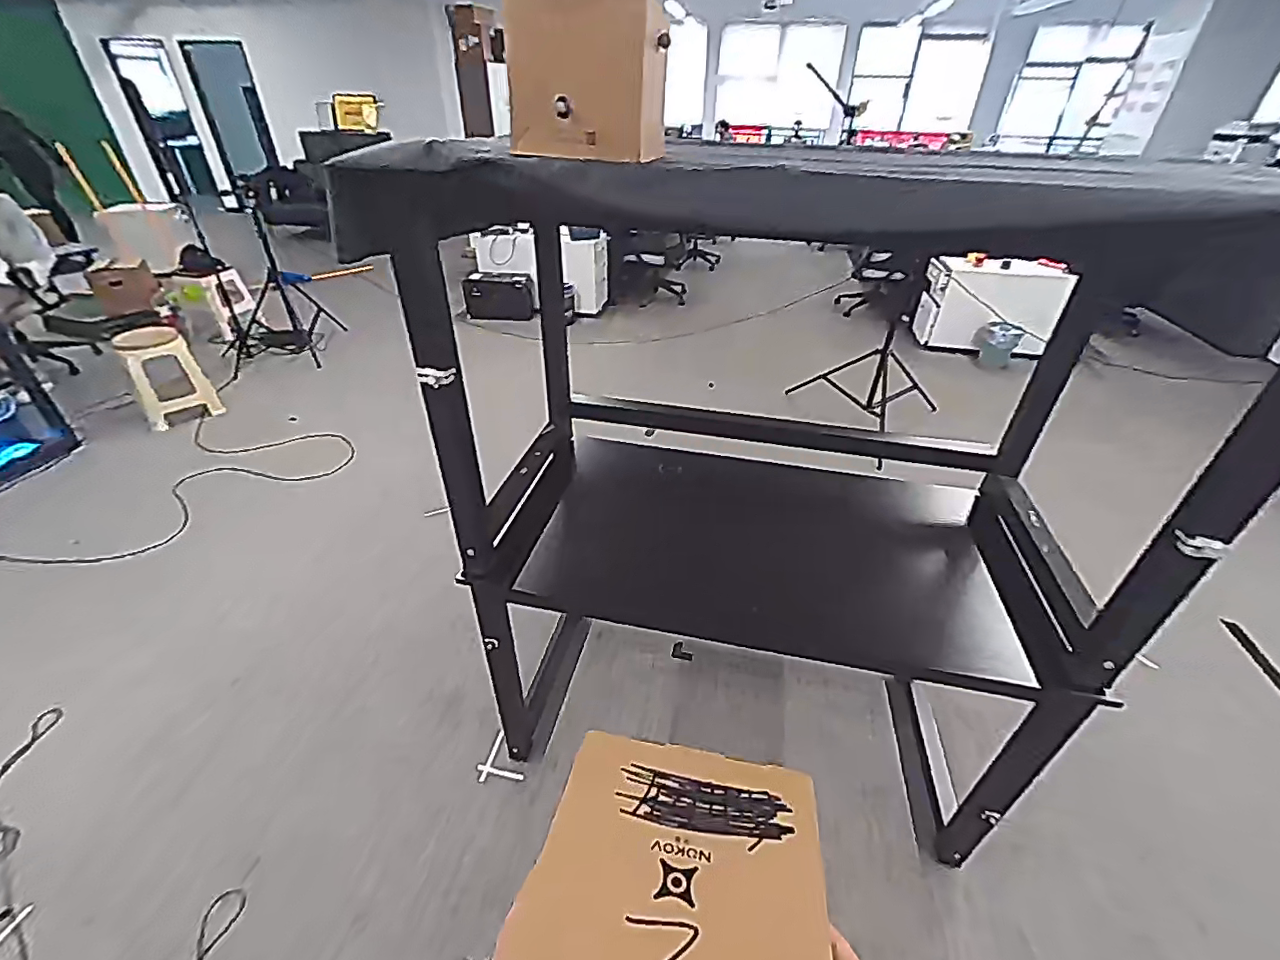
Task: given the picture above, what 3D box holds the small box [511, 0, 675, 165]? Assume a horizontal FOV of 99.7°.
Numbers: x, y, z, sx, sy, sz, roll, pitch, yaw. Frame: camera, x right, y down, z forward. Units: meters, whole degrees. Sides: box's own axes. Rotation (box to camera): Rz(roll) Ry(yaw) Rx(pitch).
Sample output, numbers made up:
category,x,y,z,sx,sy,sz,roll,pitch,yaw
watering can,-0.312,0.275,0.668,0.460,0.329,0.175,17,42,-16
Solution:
category,x,y,z,sx,sy,sz,roll,pitch,yaw
small box,-0.055,-0.508,0.687,0.168,0.176,0.179,8,34,8
